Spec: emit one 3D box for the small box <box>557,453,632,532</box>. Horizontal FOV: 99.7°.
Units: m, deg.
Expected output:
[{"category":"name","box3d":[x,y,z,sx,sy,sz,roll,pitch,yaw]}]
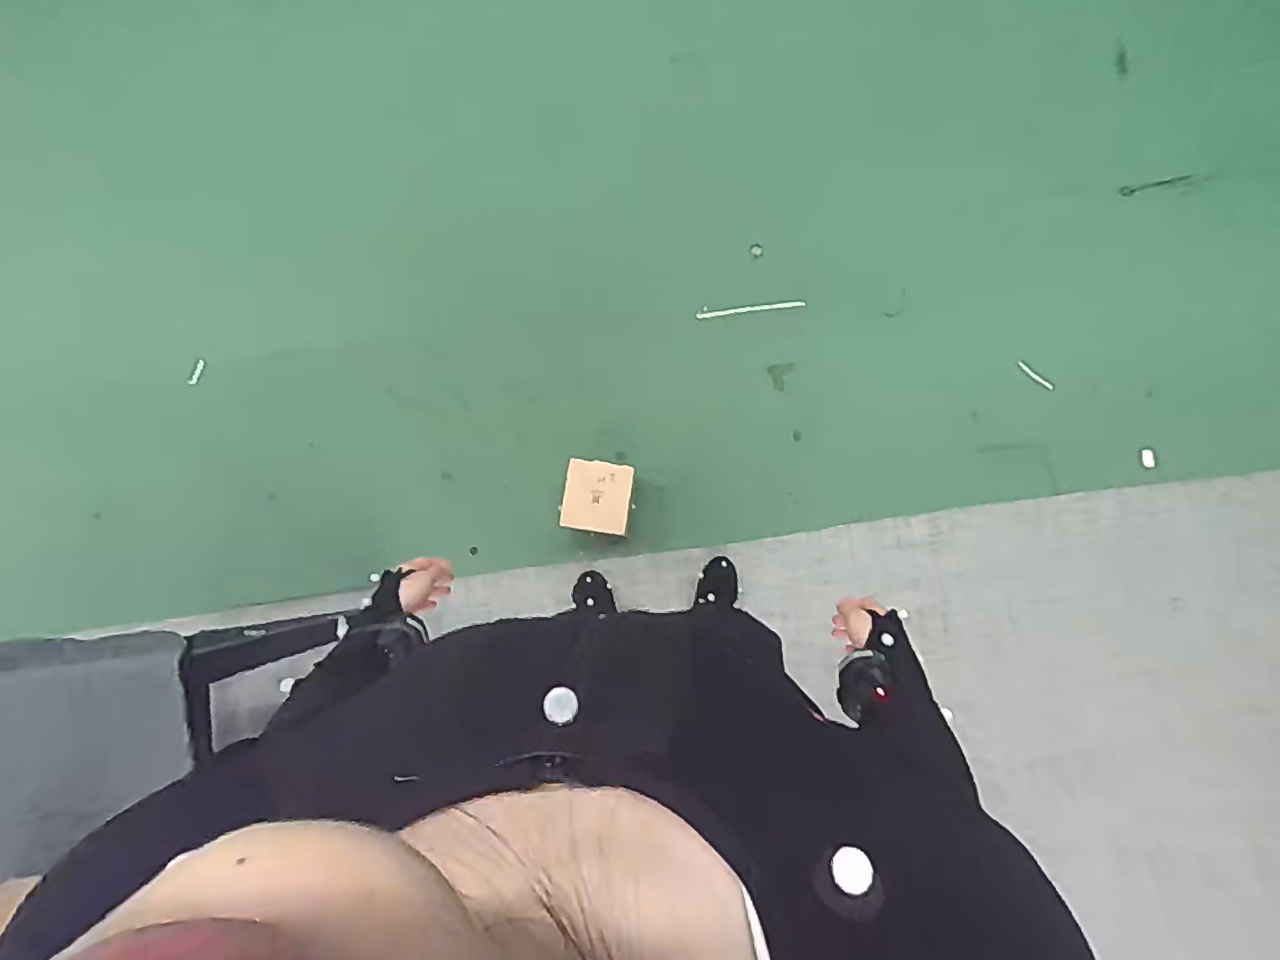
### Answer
[{"category":"small box","box3d":[-0.112,0.038,1.415,0.168,0.176,0.179,8,84,0]}]
